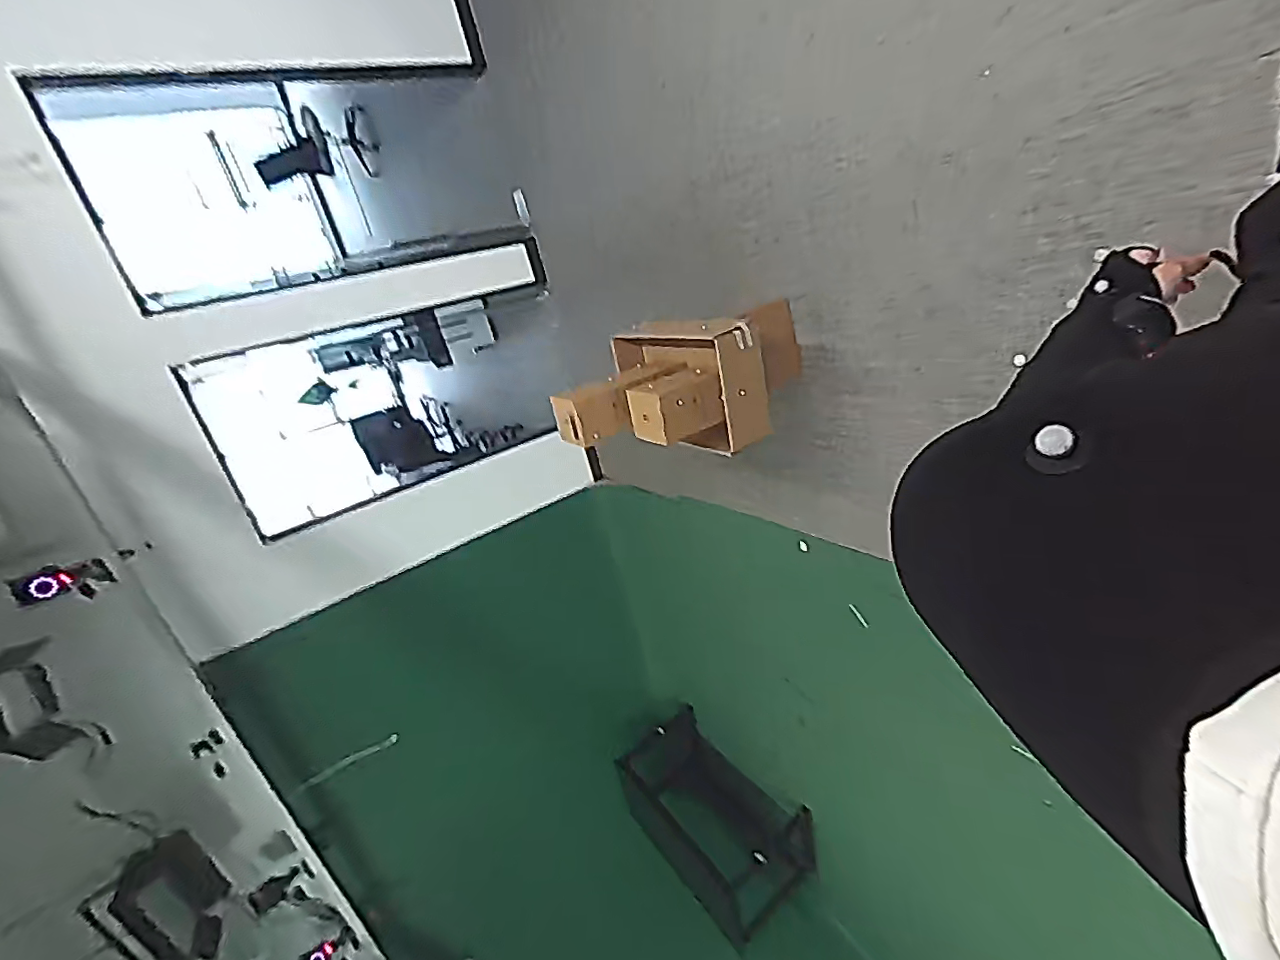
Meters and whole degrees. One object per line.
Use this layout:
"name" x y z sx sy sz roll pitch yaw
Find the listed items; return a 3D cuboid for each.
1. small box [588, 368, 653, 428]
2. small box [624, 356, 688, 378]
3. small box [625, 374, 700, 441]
"small box" -0.059 -0.301 1.955 0.179 0.176 0.168 18 127 51
"small box" 0.067 -0.364 2.036 0.179 0.176 0.168 19 129 51
"small box" 0.080 -0.242 1.758 0.179 0.176 0.168 22 130 53
